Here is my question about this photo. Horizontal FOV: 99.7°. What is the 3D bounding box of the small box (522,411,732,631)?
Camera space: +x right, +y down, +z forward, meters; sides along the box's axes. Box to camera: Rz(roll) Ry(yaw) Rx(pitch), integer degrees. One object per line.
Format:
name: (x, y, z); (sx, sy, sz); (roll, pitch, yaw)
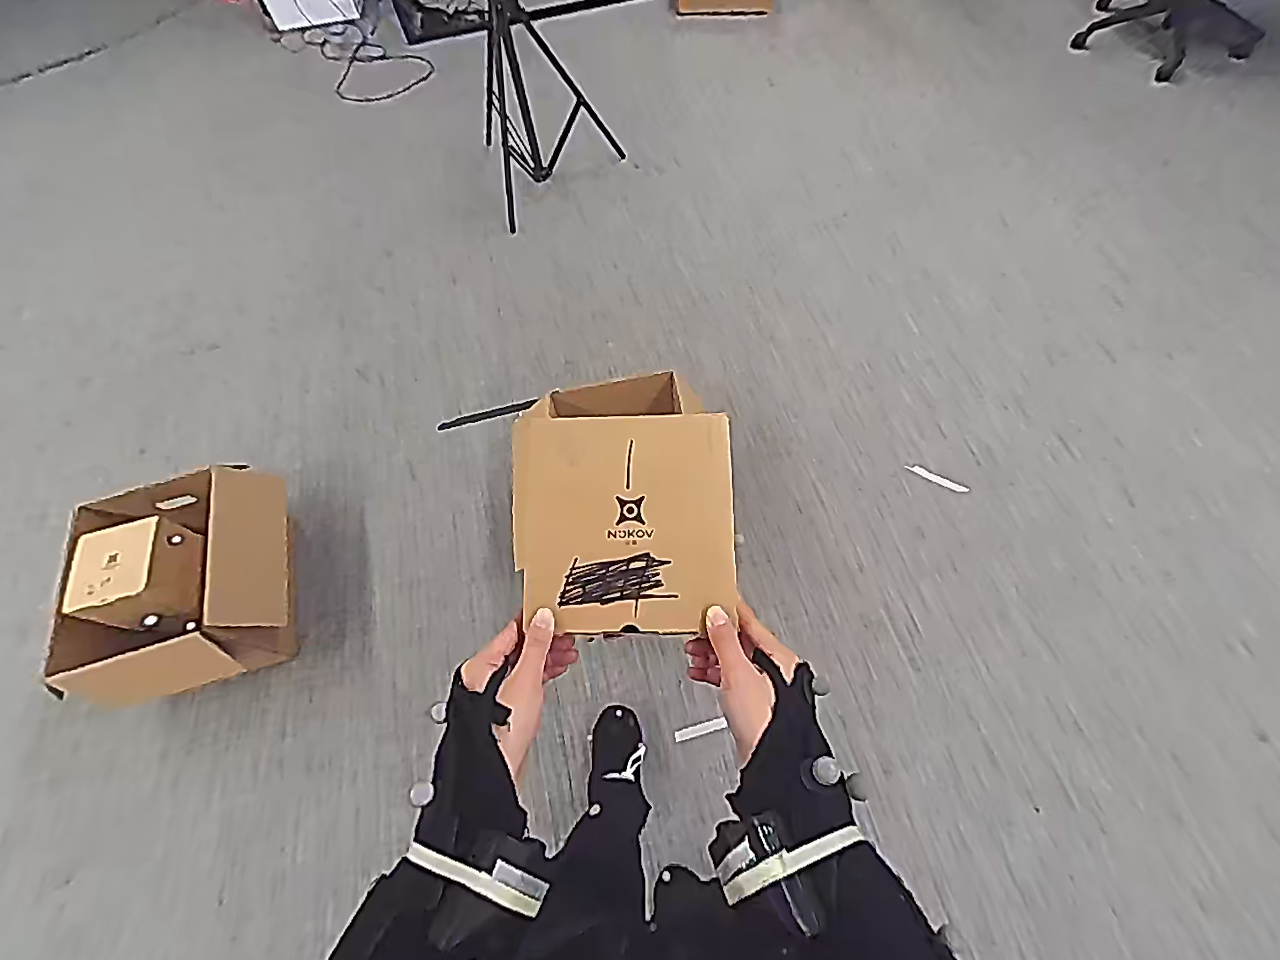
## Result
small box: (-0.005, 0.046, 0.507); (0.168, 0.176, 0.179); (-1, 77, 3)

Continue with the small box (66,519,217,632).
small box: (-1.075, 0.213, 1.185); (0.168, 0.176, 0.179); (-15, 62, -3)
